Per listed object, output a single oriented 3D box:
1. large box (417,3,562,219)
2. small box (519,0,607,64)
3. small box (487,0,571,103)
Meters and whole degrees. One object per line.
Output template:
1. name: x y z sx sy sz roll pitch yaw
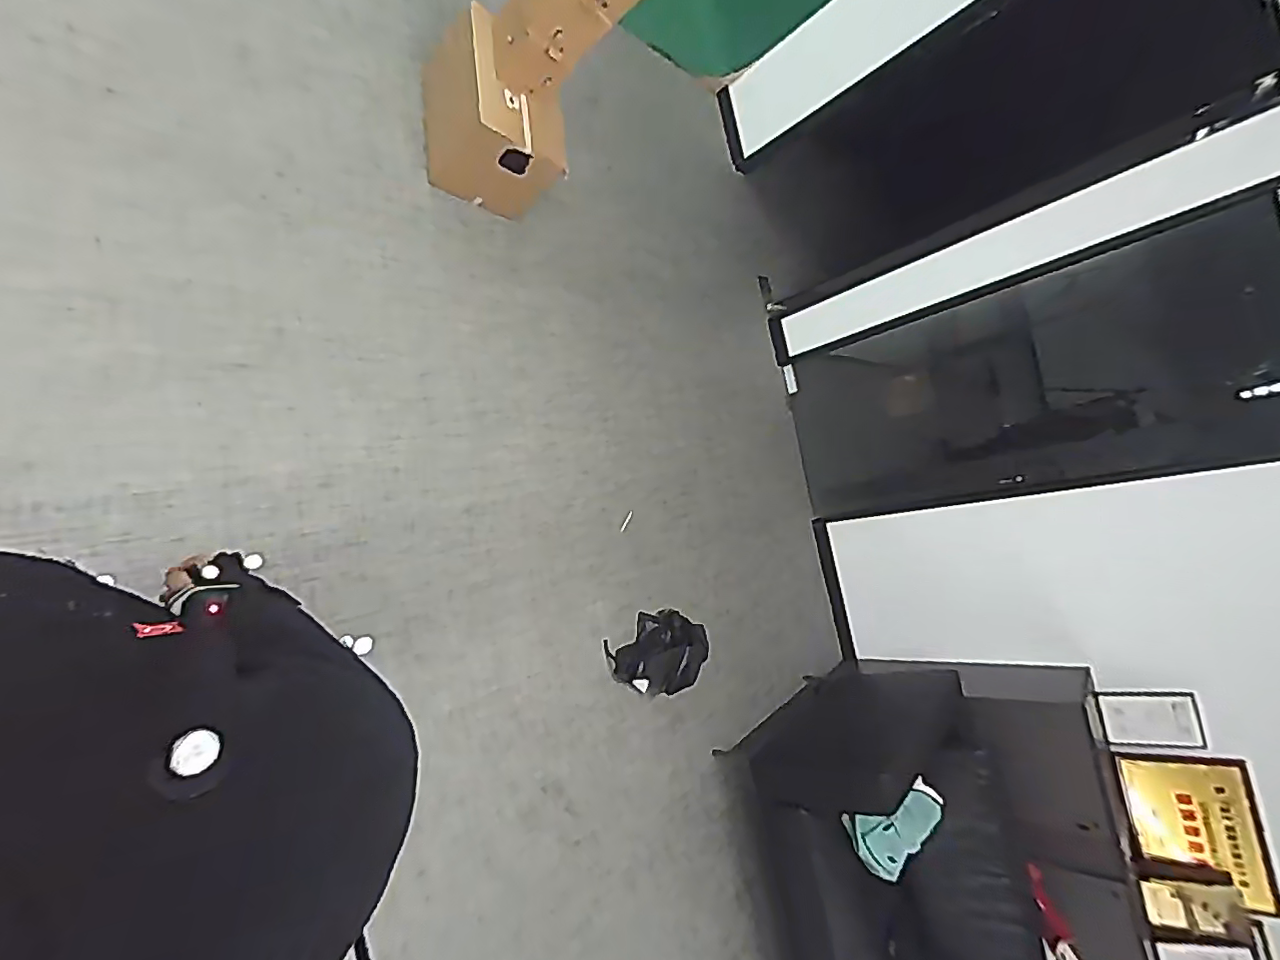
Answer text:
1. large box: -0.480 -1.133 1.715 0.320 0.320 0.408 0 81 -46
2. small box: -0.209 -1.278 1.440 0.168 0.176 0.179 4 78 -48
3. small box: -0.322 -1.243 1.552 0.168 0.176 0.179 2 78 -48
